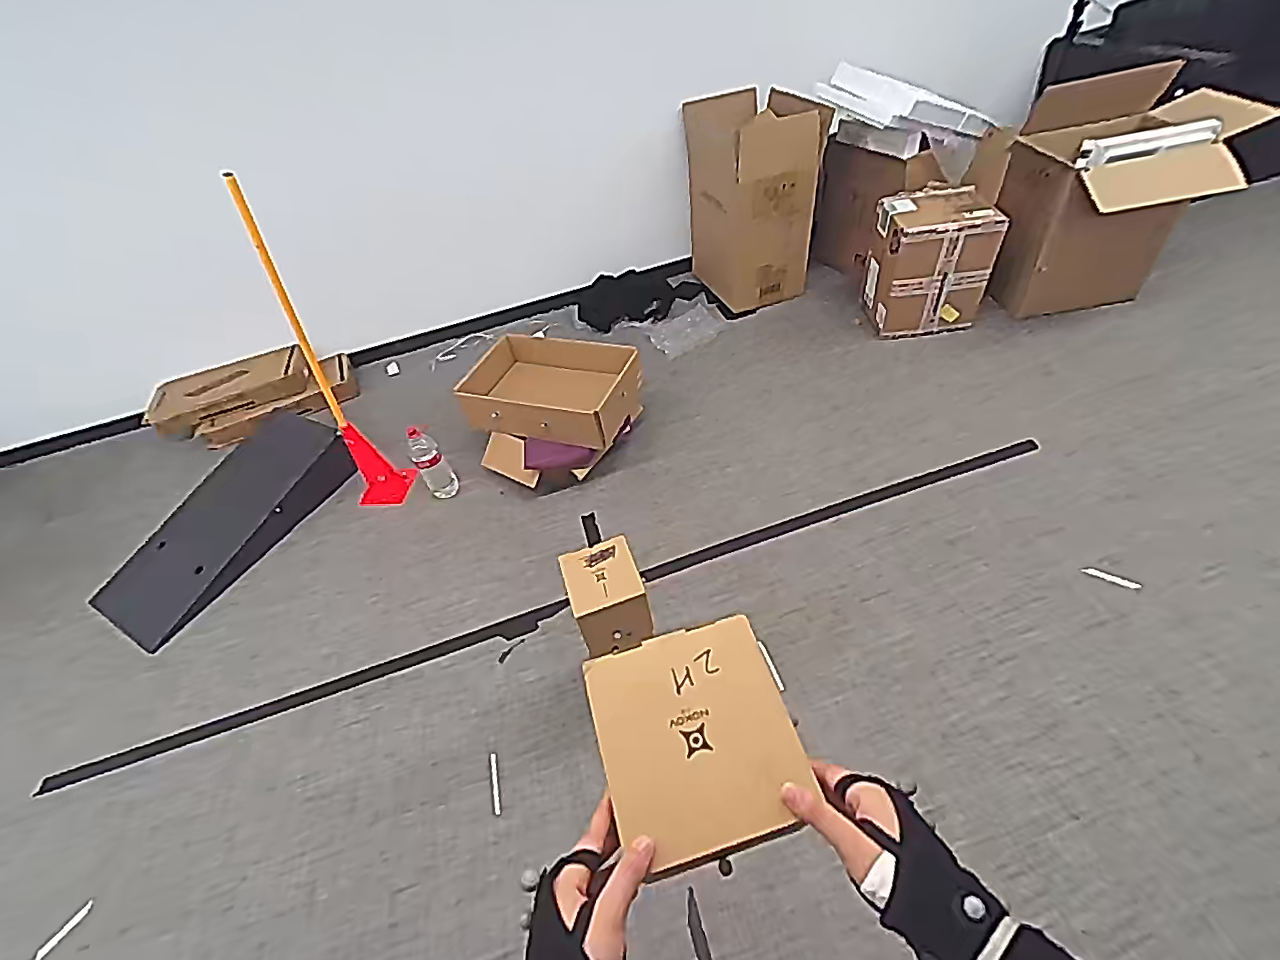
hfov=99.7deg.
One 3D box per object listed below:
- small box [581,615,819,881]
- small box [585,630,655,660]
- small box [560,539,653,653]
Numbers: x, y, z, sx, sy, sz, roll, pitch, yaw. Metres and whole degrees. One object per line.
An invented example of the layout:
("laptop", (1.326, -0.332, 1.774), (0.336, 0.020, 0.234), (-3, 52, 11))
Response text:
("small box", (0.052, 0.264, 0.530), (0.168, 0.176, 0.179), (-16, 52, -6))
("small box", (-0.058, 0.392, 1.398), (0.168, 0.176, 0.179), (-19, 45, -7))
("small box", (-0.078, 0.277, 1.281), (0.168, 0.176, 0.179), (-19, 46, -7))
